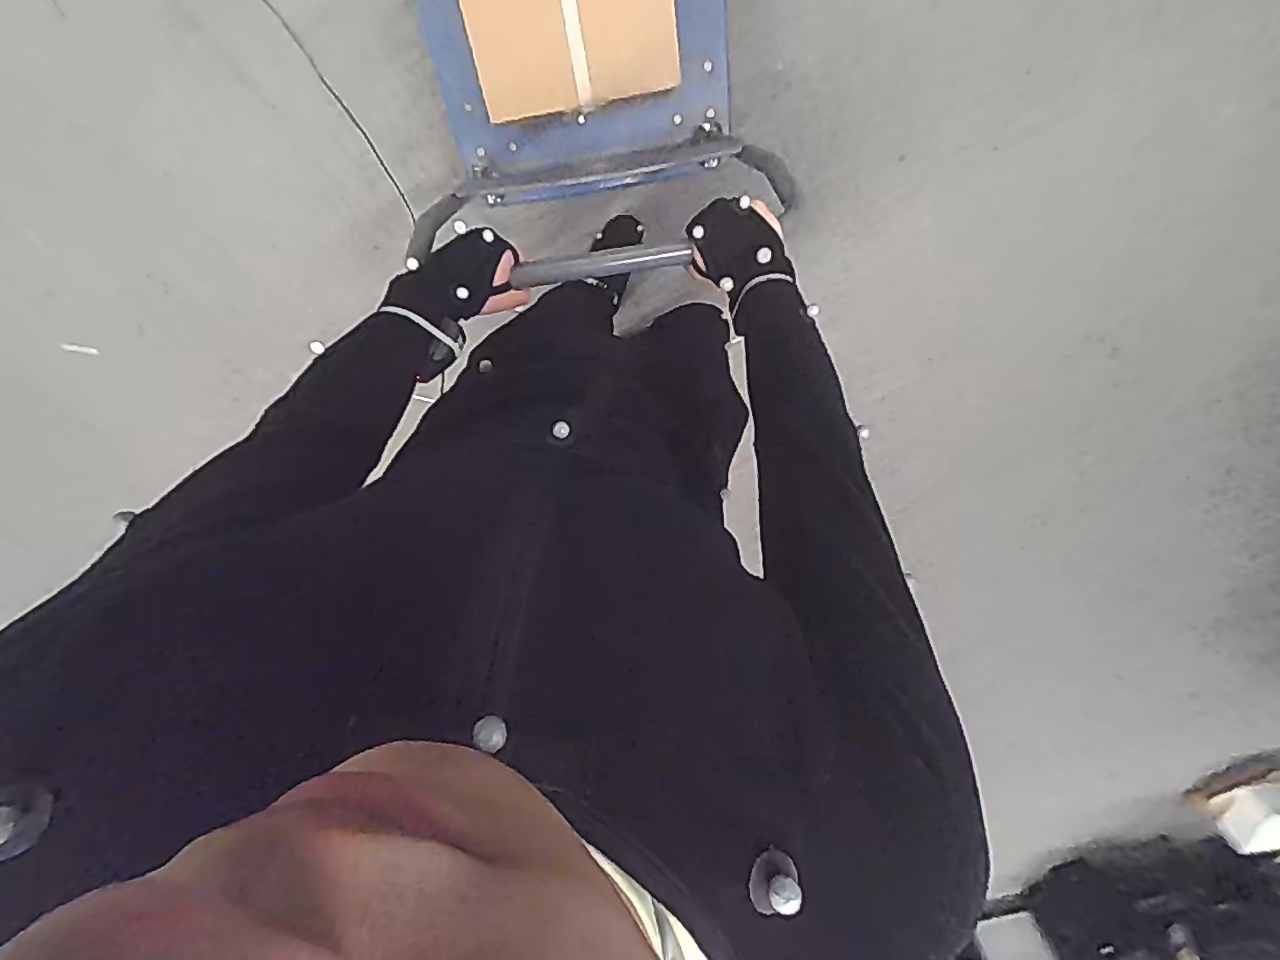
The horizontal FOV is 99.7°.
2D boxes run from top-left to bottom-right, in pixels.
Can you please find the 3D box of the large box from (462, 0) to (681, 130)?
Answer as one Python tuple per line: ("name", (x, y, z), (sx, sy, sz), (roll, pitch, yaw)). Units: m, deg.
("large box", (-0.122, -0.842, 0.889), (0.320, 0.320, 0.408), (-9, 123, 3))
